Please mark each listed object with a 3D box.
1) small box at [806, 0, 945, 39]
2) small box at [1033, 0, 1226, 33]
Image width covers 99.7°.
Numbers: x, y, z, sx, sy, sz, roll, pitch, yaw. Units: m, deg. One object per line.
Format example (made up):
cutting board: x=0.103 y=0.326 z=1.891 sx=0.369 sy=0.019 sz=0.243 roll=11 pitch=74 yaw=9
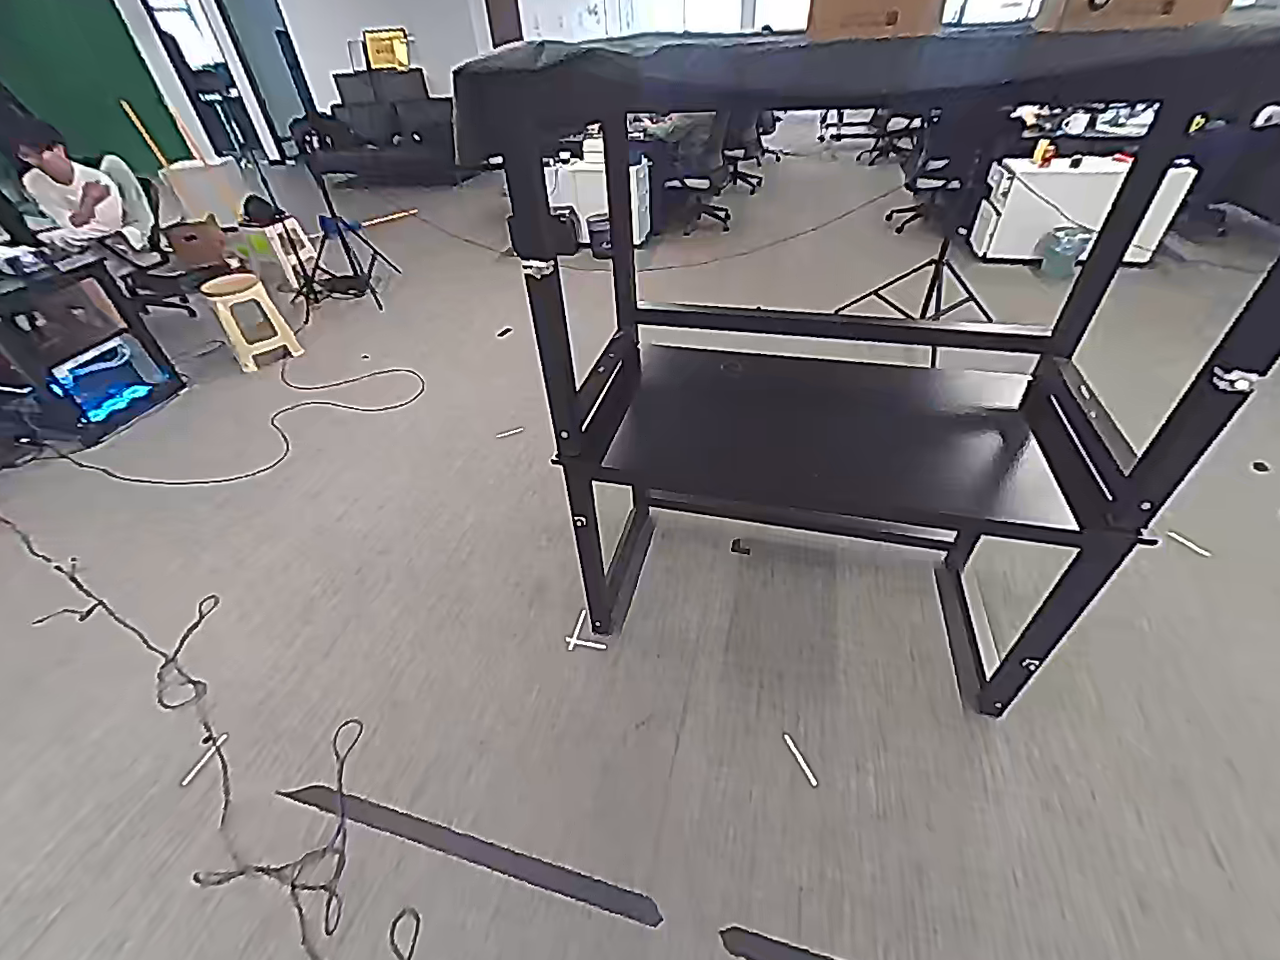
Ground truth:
small box: x=0.316 y=-0.688 z=0.707 sx=0.168 sy=0.176 sz=0.179 roll=8 pitch=40 yaw=14
small box: x=0.606 y=-0.649 z=0.644 sx=0.168 sy=0.176 sz=0.179 roll=11 pitch=41 yaw=16
